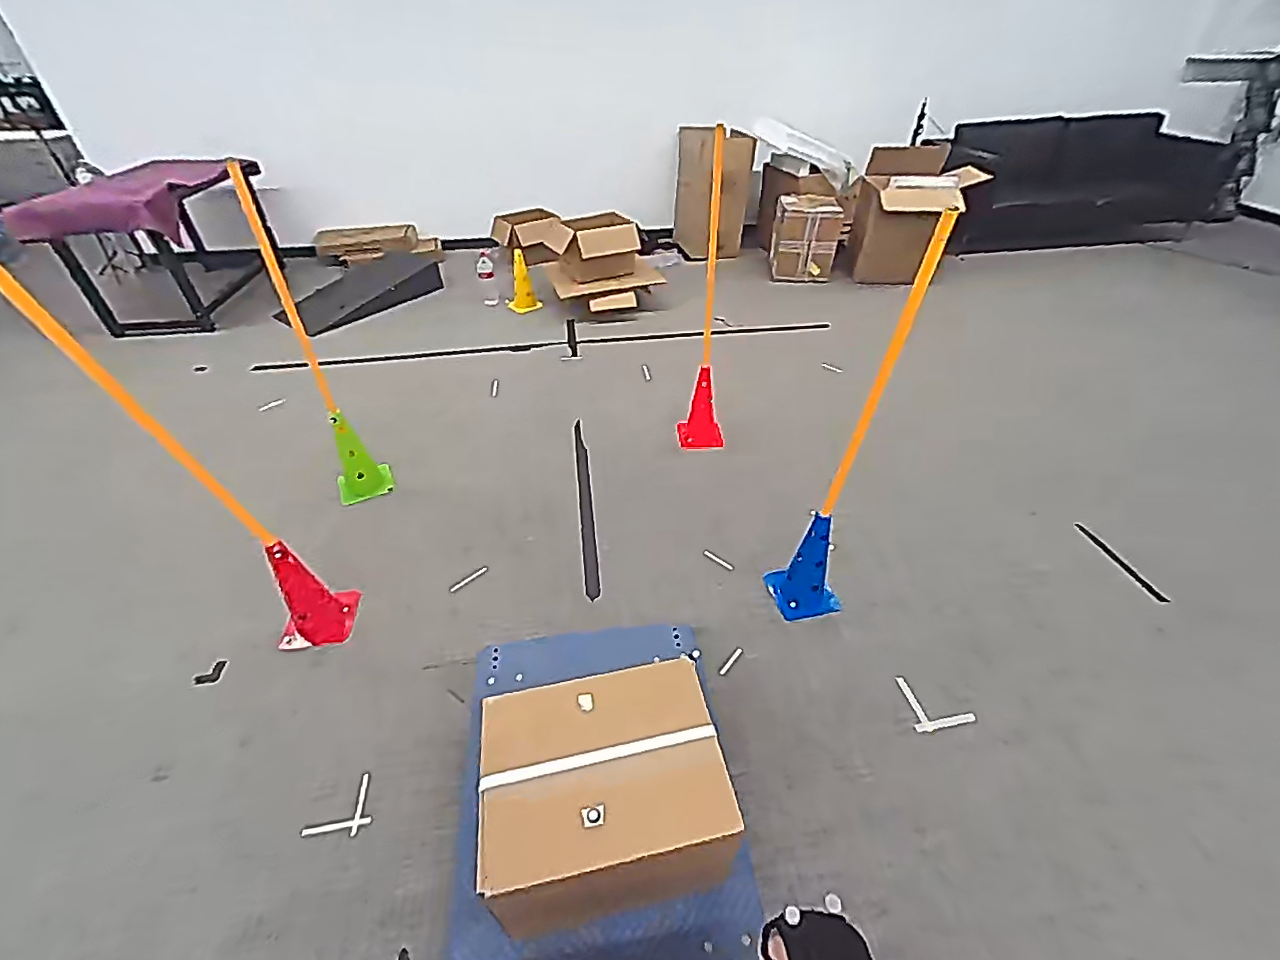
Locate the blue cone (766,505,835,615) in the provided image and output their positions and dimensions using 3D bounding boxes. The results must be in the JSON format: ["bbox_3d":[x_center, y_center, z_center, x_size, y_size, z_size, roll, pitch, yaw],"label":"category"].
[{"bbox_3d":[0.535,0.237,1.699,0.193,0.380,0.192,-8,40,-9],"label":"blue cone"}]

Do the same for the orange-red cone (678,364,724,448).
[{"bbox_3d":[0.278,-0.338,2.357,0.199,0.360,0.198,-1,41,-2],"label":"orange-red cone"}]
